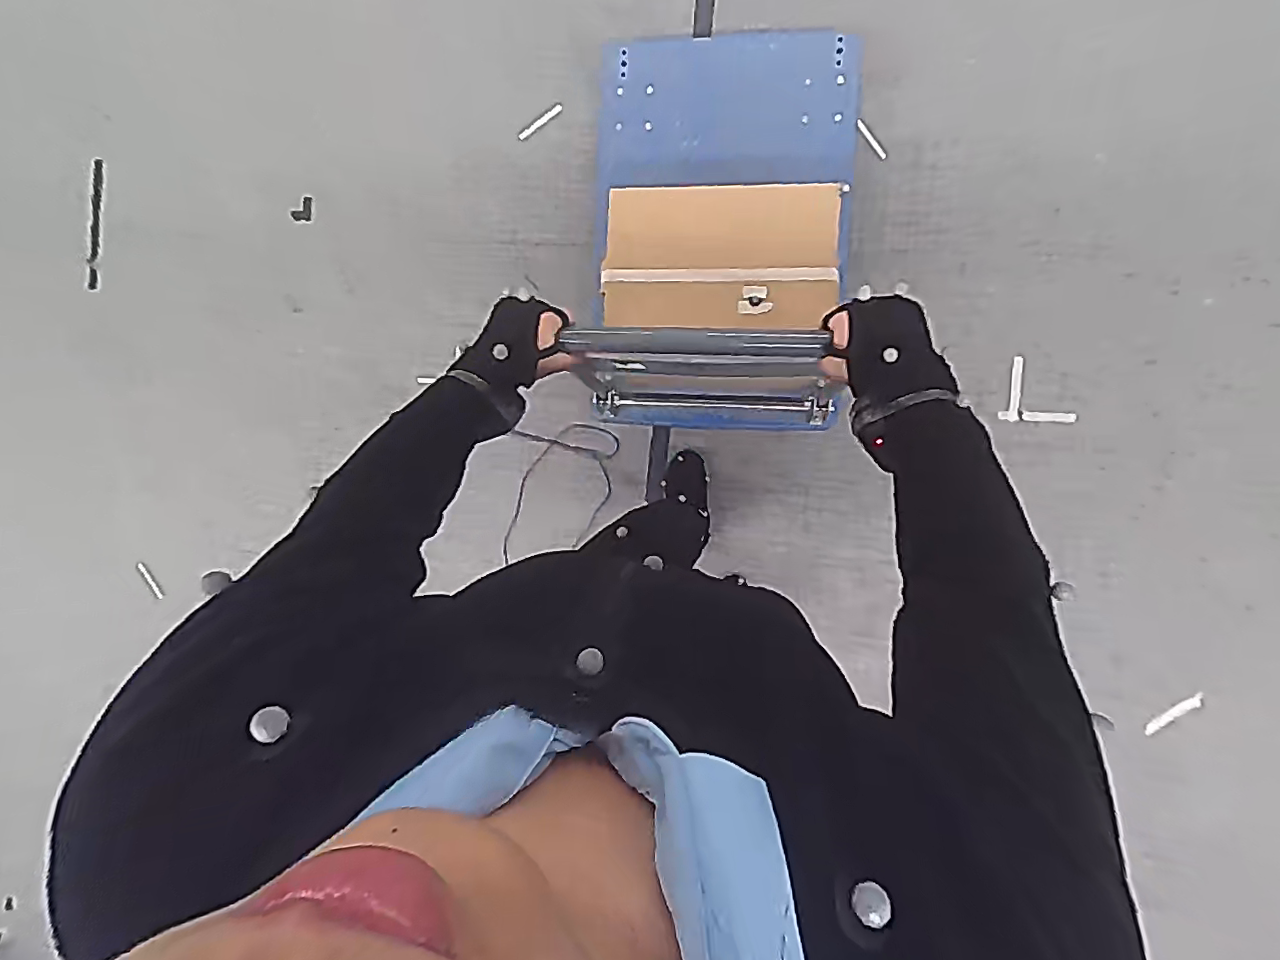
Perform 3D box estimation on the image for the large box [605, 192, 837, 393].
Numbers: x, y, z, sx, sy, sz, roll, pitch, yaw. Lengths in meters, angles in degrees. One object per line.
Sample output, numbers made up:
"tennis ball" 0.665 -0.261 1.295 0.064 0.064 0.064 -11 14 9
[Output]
"large box" 0.154 -0.353 1.102 0.408 0.320 0.320 3 93 7
